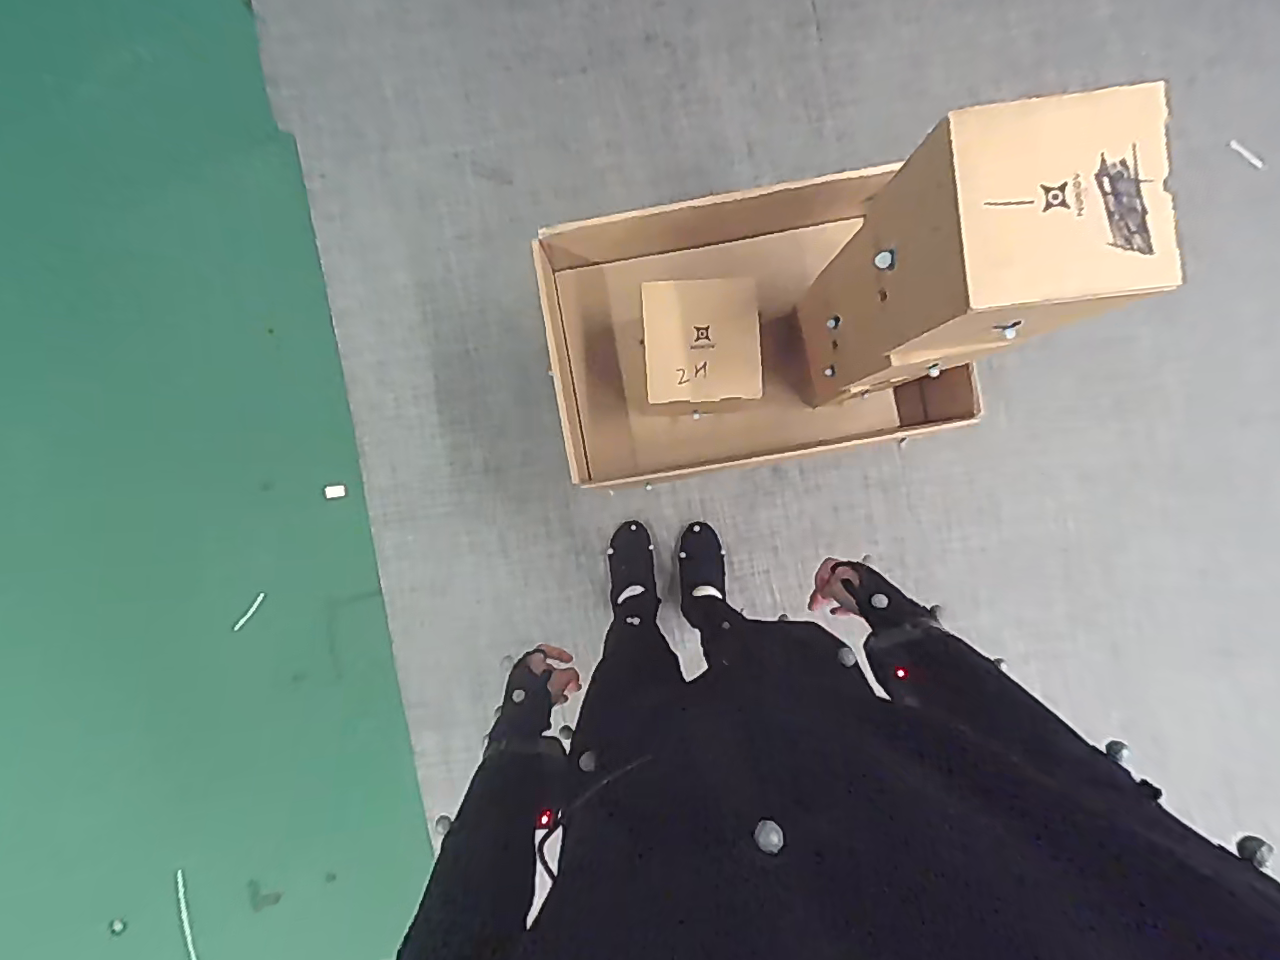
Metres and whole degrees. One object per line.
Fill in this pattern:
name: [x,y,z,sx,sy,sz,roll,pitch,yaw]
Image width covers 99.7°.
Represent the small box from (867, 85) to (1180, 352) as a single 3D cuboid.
small box: [0.341,-0.228,0.515,0.179,0.176,0.168,-6,90,2]
